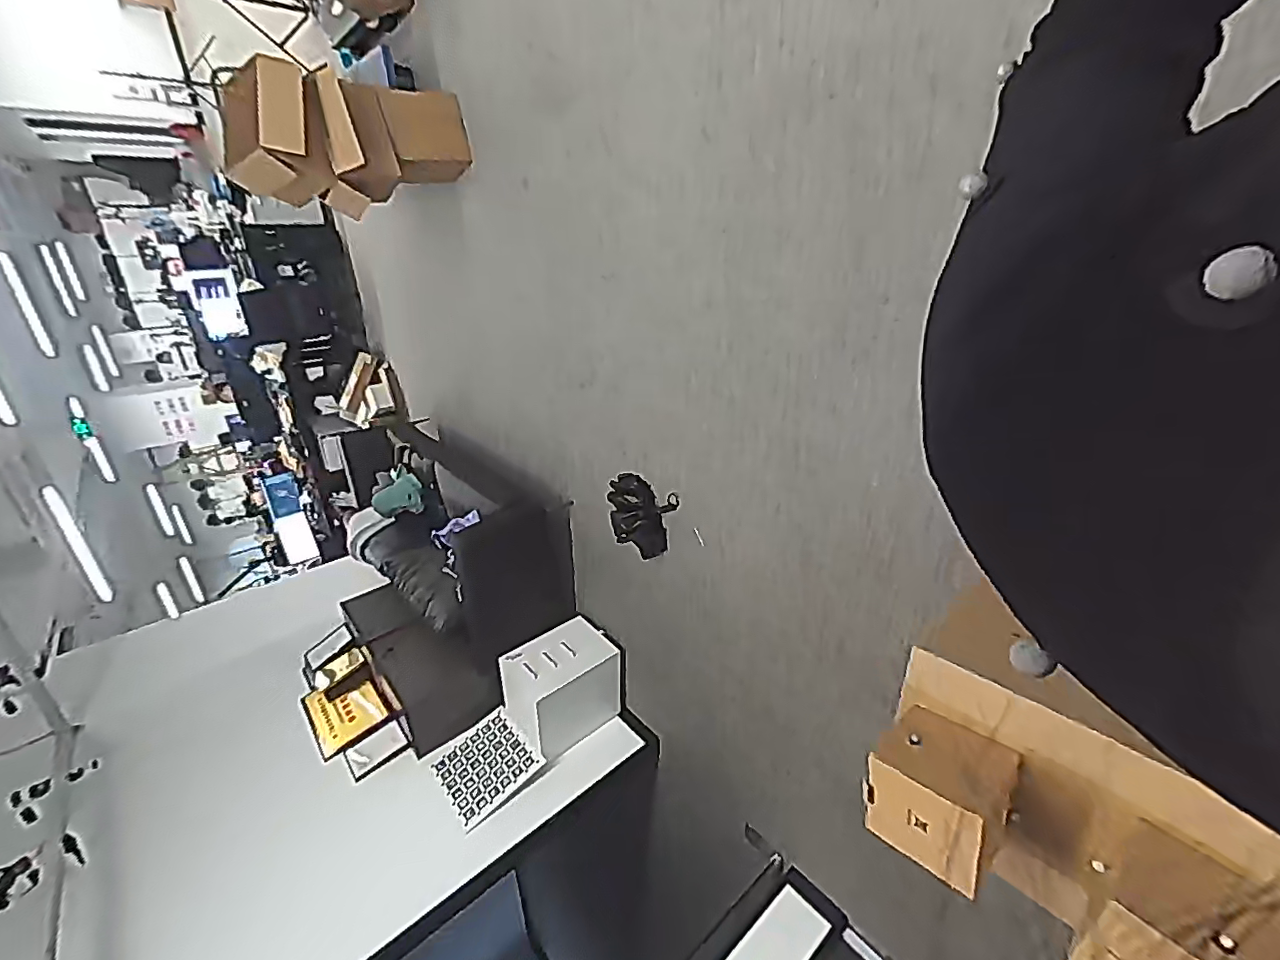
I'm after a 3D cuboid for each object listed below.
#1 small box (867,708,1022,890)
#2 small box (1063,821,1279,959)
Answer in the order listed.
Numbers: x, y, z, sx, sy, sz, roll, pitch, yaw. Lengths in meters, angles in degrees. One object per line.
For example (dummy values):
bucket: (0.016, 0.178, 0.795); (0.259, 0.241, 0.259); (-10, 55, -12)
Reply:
small box: (0.510, 0.519, 0.915); (0.179, 0.176, 0.168); (14, 116, 48)
small box: (0.703, 0.600, 0.700); (0.179, 0.176, 0.168); (28, 125, 43)
